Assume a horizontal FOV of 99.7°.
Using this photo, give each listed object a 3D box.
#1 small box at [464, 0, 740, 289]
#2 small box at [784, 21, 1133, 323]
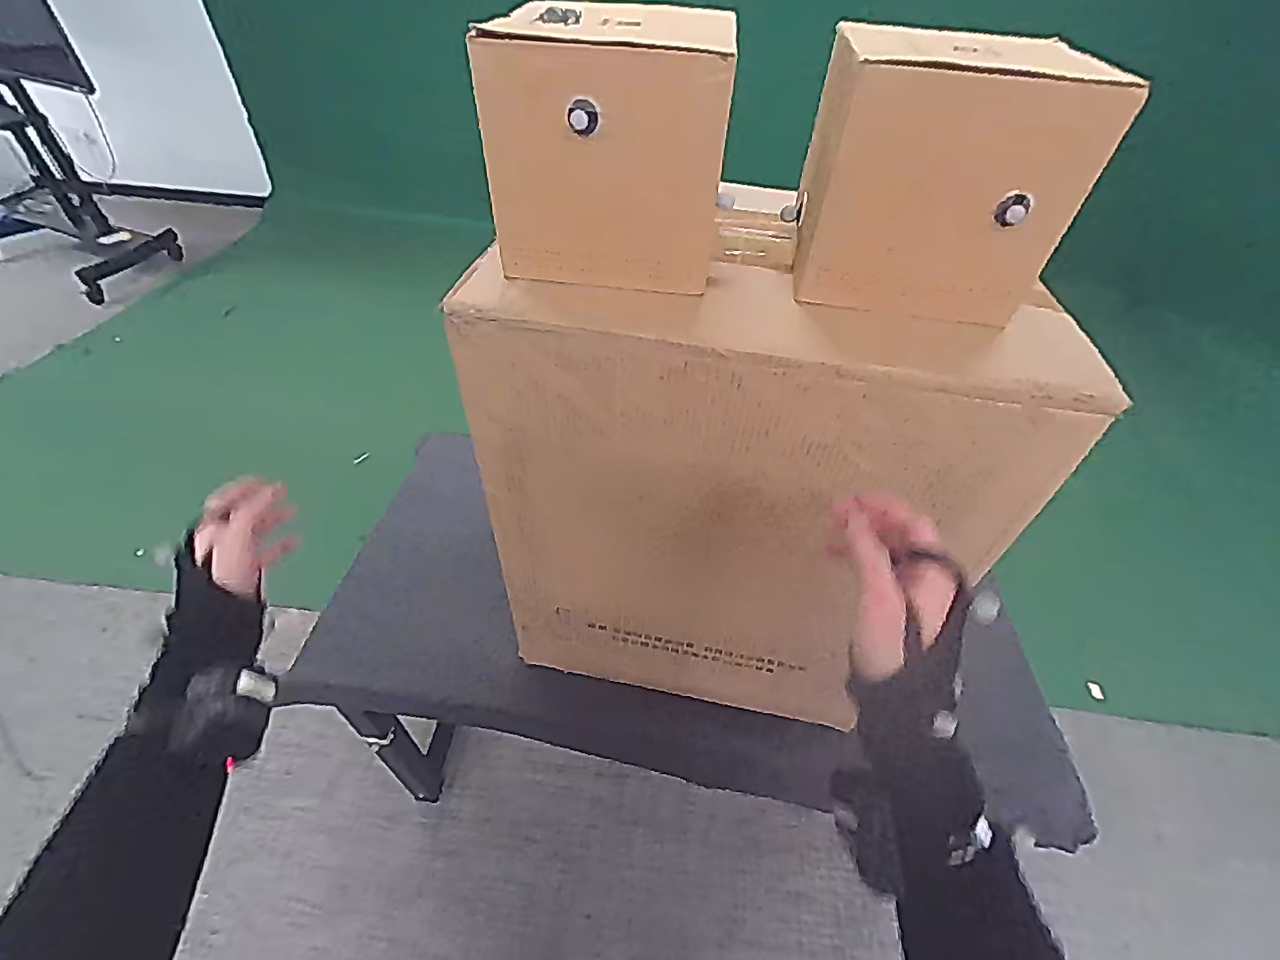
[{"bbox_3d":[-0.019,-0.284,0.462,0.179,0.176,0.168,9,50,7],"label":"small box"},{"bbox_3d":[0.230,-0.252,0.450,0.179,0.176,0.168,10,48,6],"label":"small box"}]
